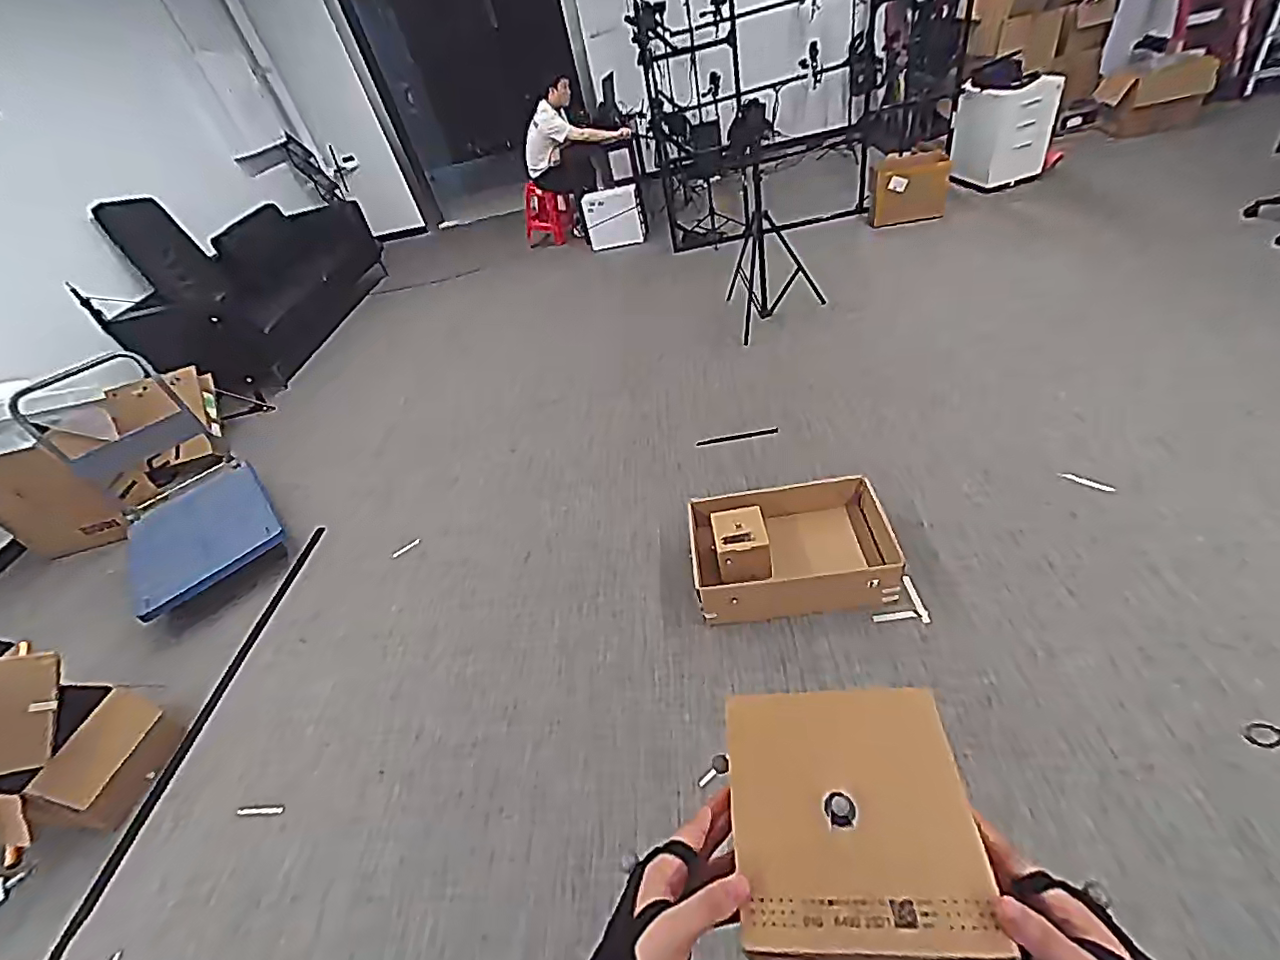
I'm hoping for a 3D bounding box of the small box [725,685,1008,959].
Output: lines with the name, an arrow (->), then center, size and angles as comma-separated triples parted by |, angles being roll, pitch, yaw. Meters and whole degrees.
small box -> 0.166, 0.290, 0.446 | 0.168, 0.179, 0.176 | -6, 45, 11
